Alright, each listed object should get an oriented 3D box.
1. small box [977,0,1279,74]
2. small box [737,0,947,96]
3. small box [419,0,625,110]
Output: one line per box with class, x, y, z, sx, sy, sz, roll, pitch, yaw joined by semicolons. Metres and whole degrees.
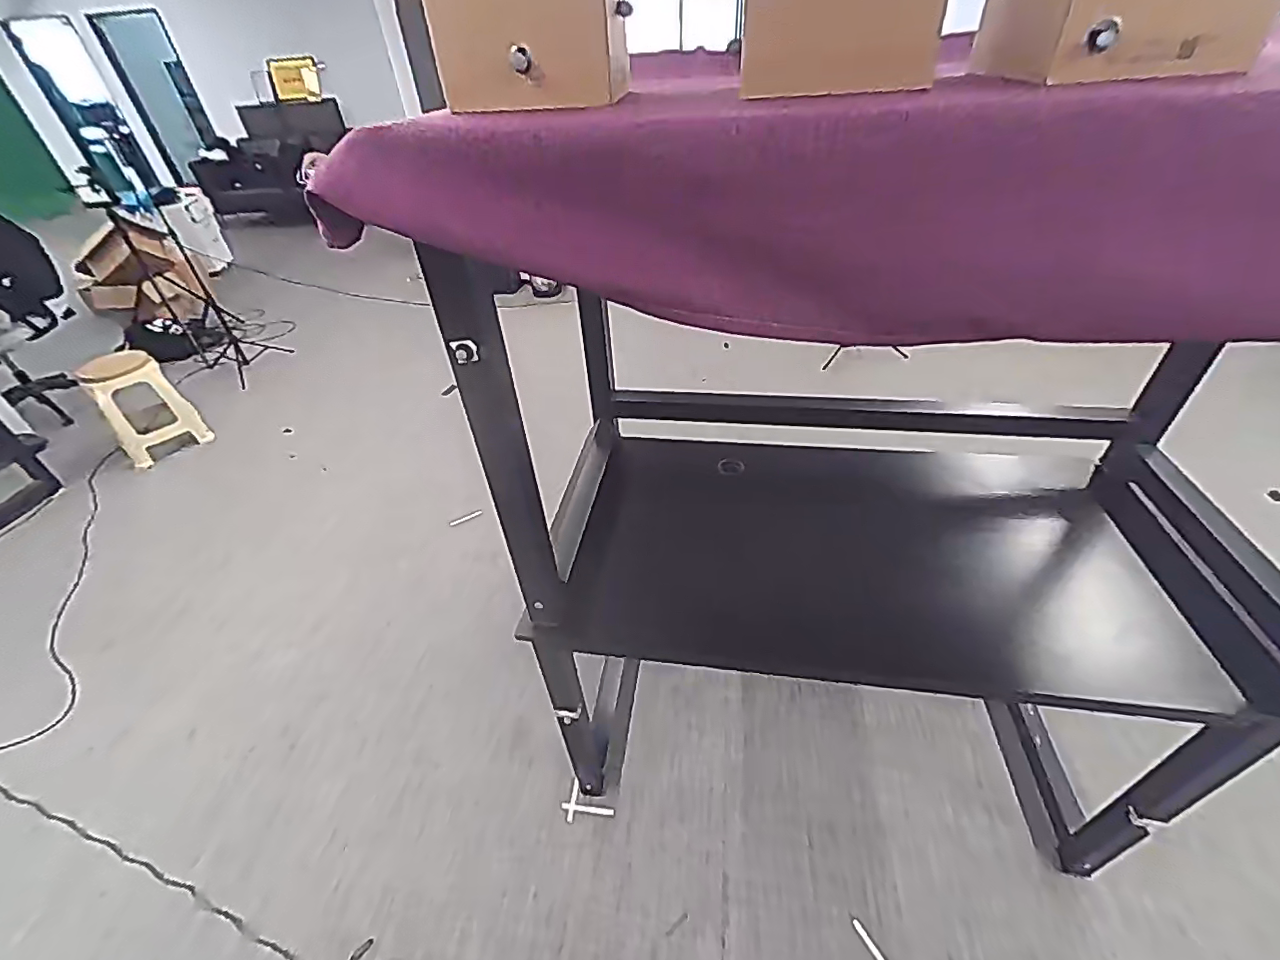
small box;0.425;-0.455;0.457;0.168;0.176;0.179;0;39;5
small box;0.186;-0.473;0.504;0.179;0.176;0.168;3;40;10
small box;-0.111;-0.489;0.548;0.179;0.176;0.168;2;40;6
